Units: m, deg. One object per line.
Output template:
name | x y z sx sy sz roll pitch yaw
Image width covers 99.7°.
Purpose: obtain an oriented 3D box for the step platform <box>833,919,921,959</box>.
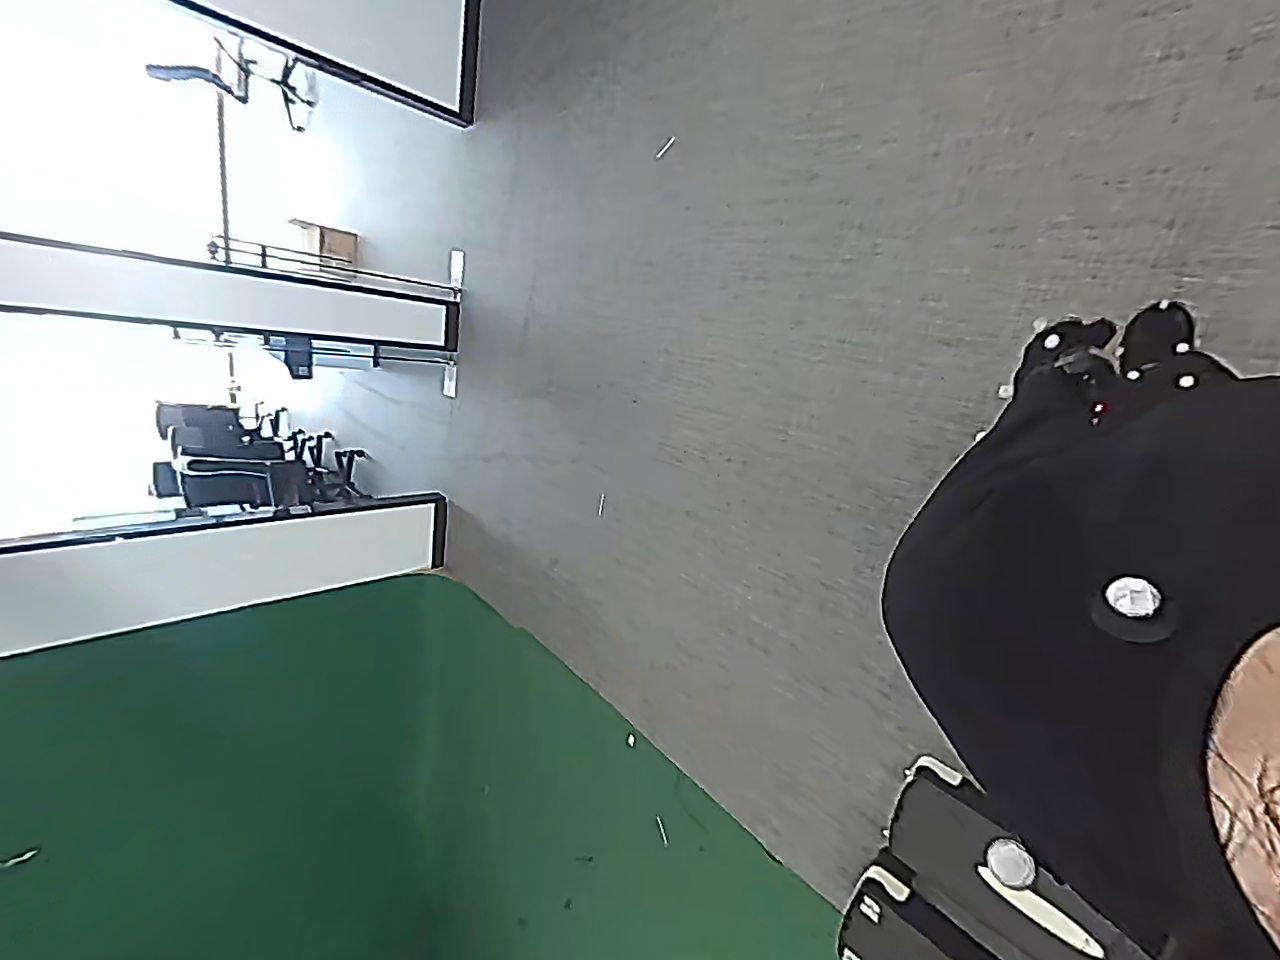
step platform | 0.734 1.361 1.176 0.684 0.204 0.286 23 110 40
